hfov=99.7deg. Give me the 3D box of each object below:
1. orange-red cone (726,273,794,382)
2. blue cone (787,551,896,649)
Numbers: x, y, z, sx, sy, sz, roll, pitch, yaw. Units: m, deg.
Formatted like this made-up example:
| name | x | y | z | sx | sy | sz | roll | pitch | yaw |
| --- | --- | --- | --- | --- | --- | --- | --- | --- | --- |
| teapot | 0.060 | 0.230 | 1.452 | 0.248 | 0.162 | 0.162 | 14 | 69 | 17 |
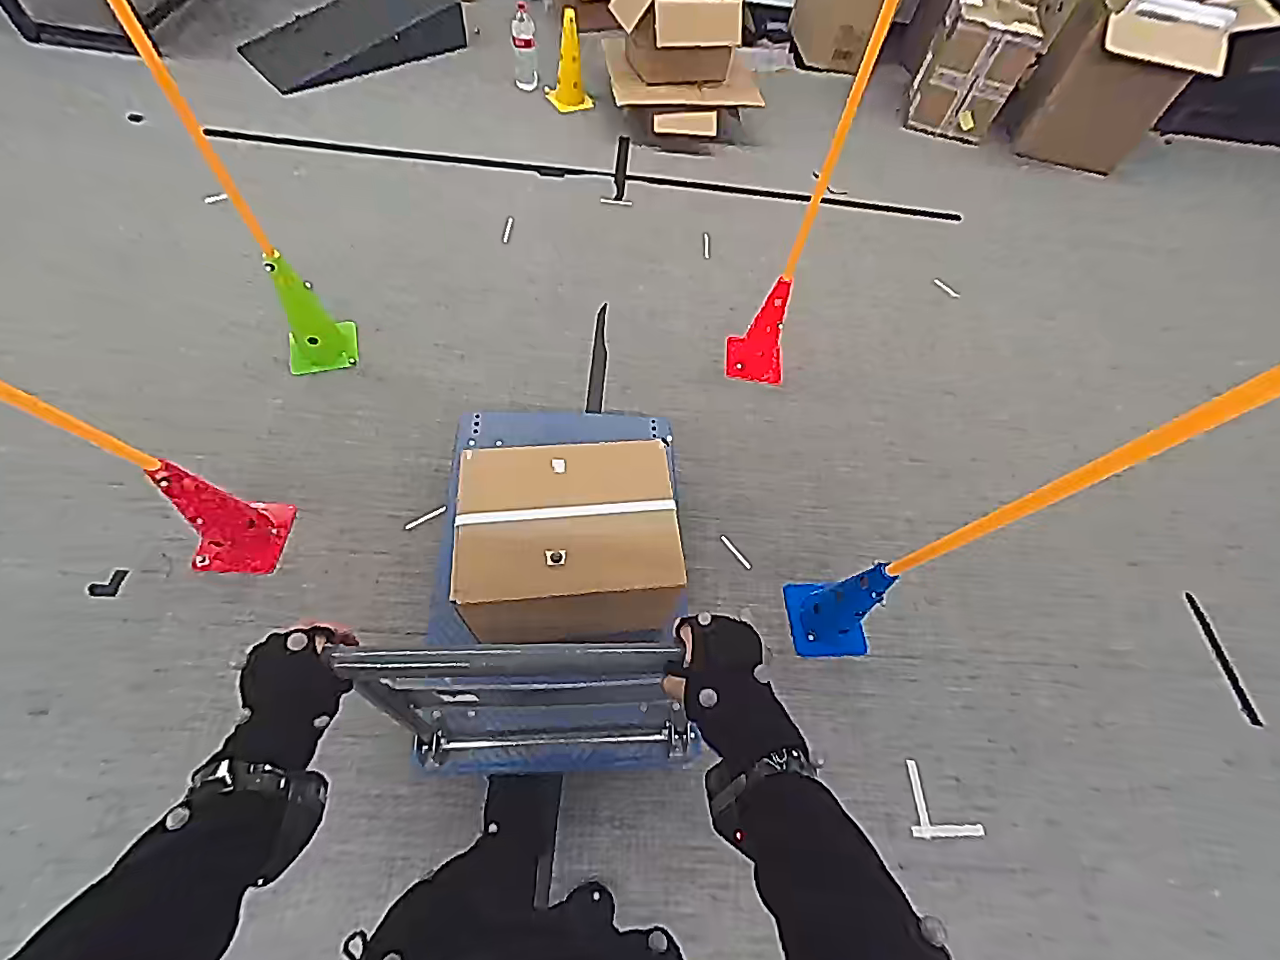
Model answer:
| name | x | y | z | sx | sy | sz | roll | pitch | yaw |
| --- | --- | --- | --- | --- | --- | --- | --- | --- | --- |
| orange-red cone | 0.425 | -0.519 | 1.757 | 0.199 | 0.360 | 0.198 | 11 | 60 | -2 |
| blue cone | 0.520 | 0.275 | 1.320 | 0.193 | 0.380 | 0.192 | 1 | 59 | -6 |
